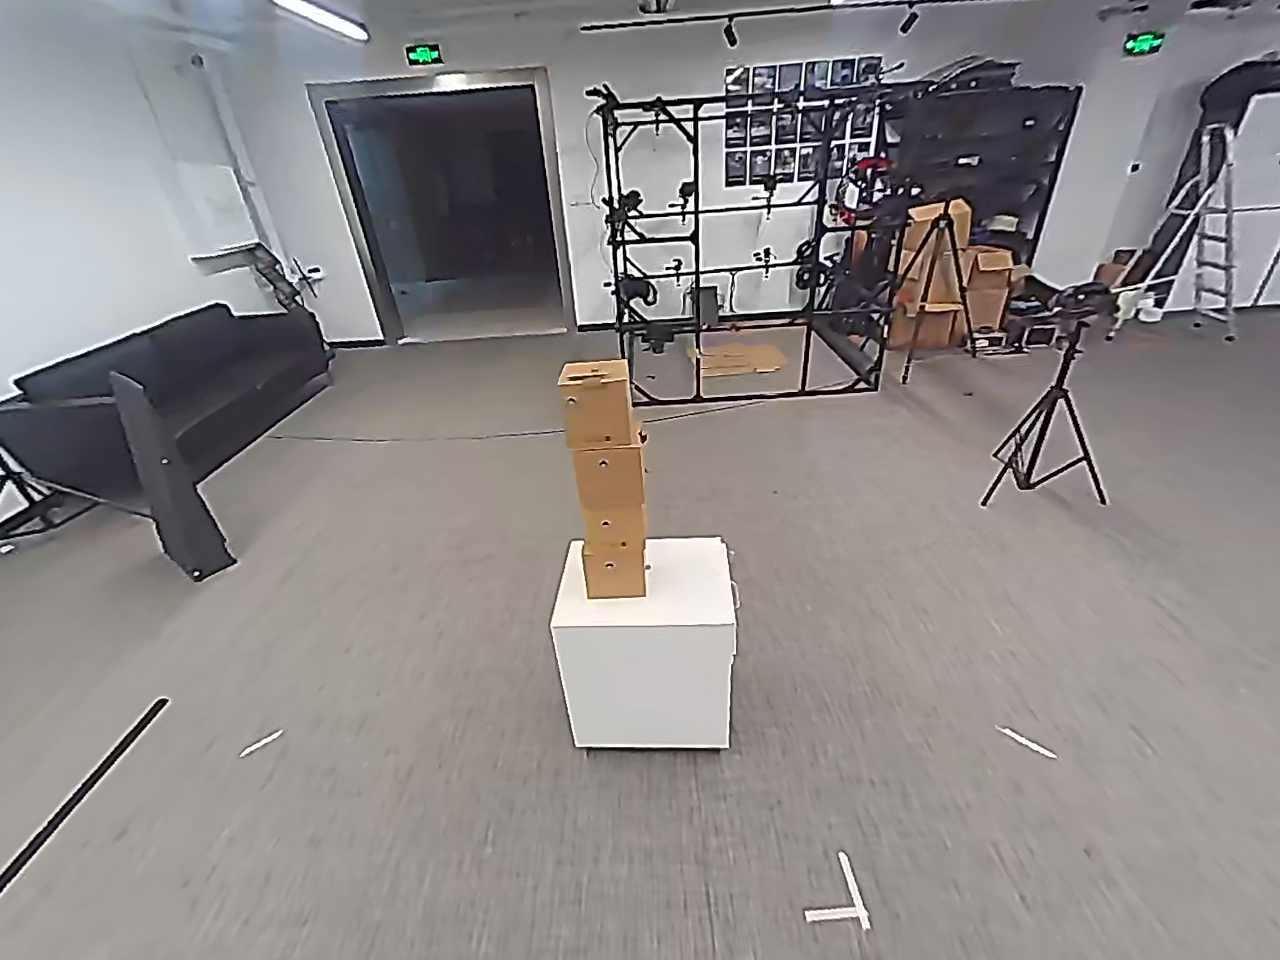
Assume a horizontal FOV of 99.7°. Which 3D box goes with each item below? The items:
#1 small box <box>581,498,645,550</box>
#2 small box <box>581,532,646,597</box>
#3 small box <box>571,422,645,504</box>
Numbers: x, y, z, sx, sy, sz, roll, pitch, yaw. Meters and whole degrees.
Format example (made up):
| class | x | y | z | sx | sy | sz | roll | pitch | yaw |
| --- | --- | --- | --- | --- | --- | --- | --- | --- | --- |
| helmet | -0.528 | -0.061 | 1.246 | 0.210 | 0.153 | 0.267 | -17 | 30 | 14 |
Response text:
| class | x | y | z | sx | sy | sz | roll | pitch | yaw |
| --- | --- | --- | --- | --- | --- | --- | --- | --- | --- |
| small box | -0.071 | 0.089 | 1.553 | 0.168 | 0.176 | 0.179 | -2 | 29 | 3 |
| small box | -0.075 | 0.236 | 1.623 | 0.179 | 0.176 | 0.168 | -2 | 31 | 1 |
| small box | -0.079 | -0.044 | 1.455 | 0.179 | 0.176 | 0.168 | -2 | 30 | 2 |
